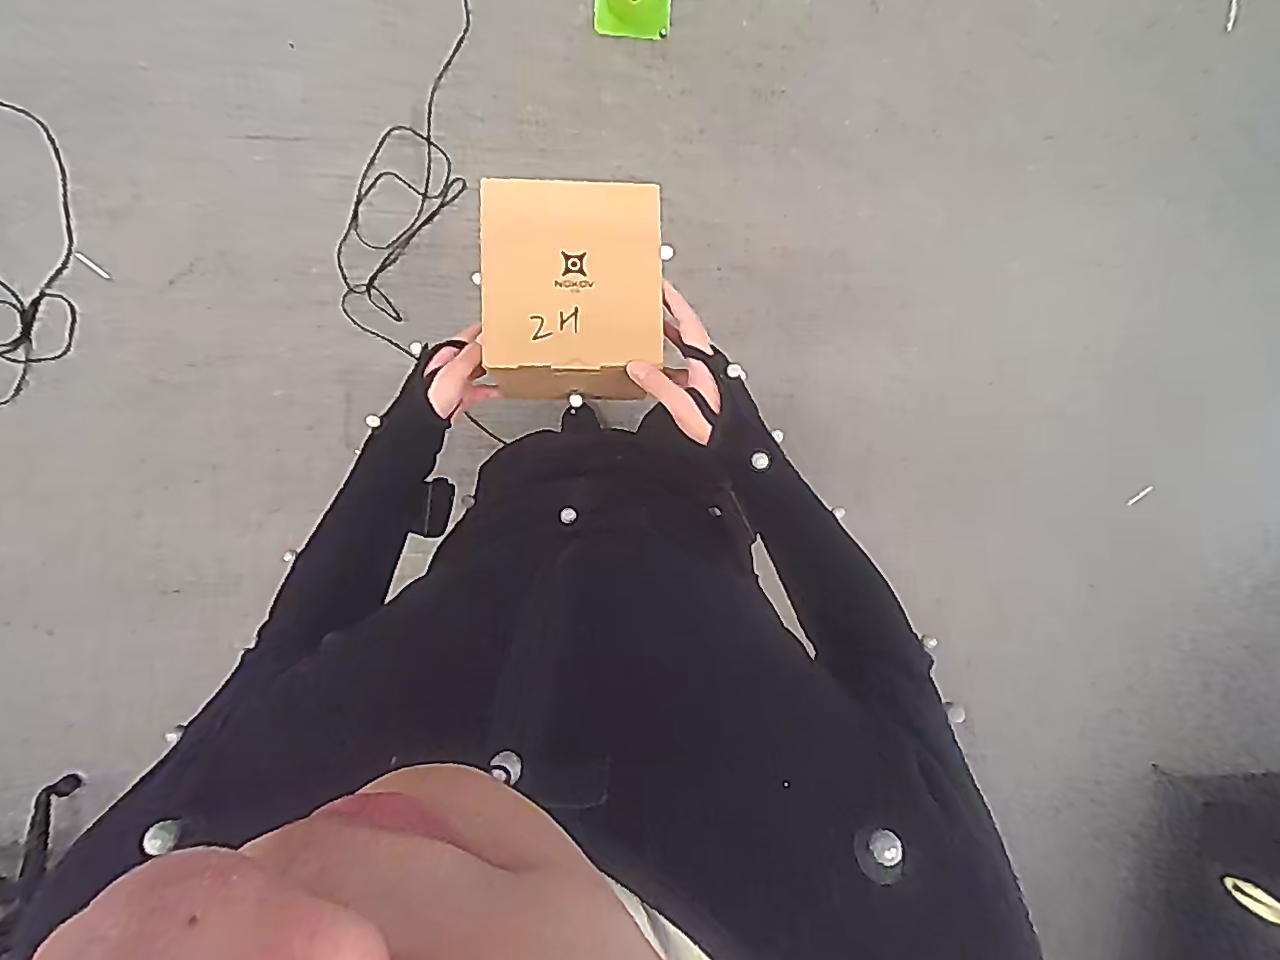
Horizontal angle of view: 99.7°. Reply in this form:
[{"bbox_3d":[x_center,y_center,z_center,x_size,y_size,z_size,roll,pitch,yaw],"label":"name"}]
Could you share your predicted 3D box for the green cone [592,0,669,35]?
[{"bbox_3d":[-0.015,-1.244,1.231,0.202,0.368,0.200,1,98,-3],"label":"green cone"}]
